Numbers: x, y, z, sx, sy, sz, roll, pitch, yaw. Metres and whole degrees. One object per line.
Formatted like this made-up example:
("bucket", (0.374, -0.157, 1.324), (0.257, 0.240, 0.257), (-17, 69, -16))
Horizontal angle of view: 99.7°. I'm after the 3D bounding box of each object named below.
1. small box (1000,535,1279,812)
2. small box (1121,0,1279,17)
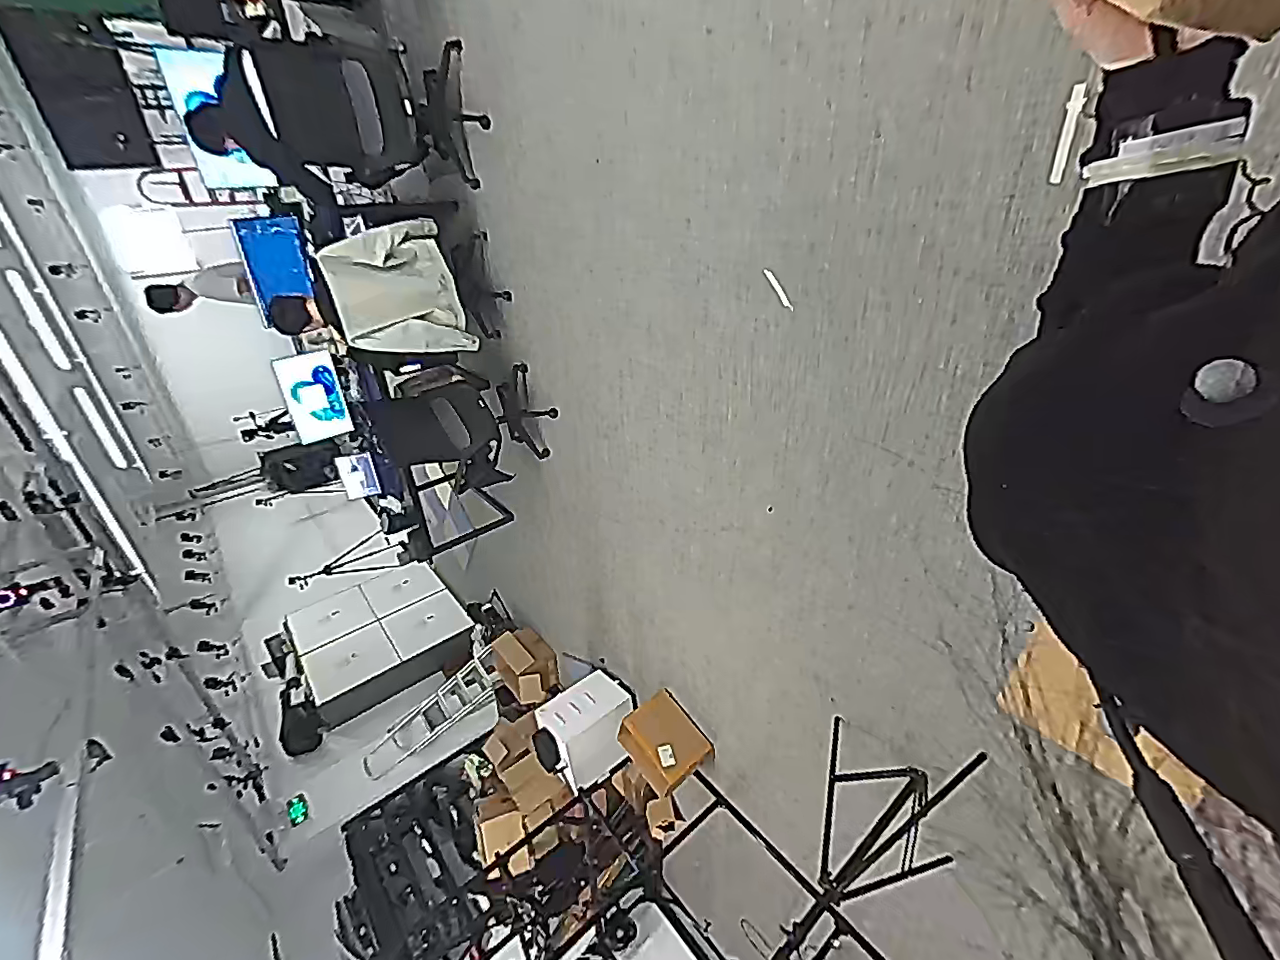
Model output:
("small box", (0.525, 0.186, 0.566), (0.168, 0.176, 0.179), (33, 137, 42))
("small box", (0.245, -0.317, 0.210), (0.179, 0.176, 0.168), (58, 152, 20))
